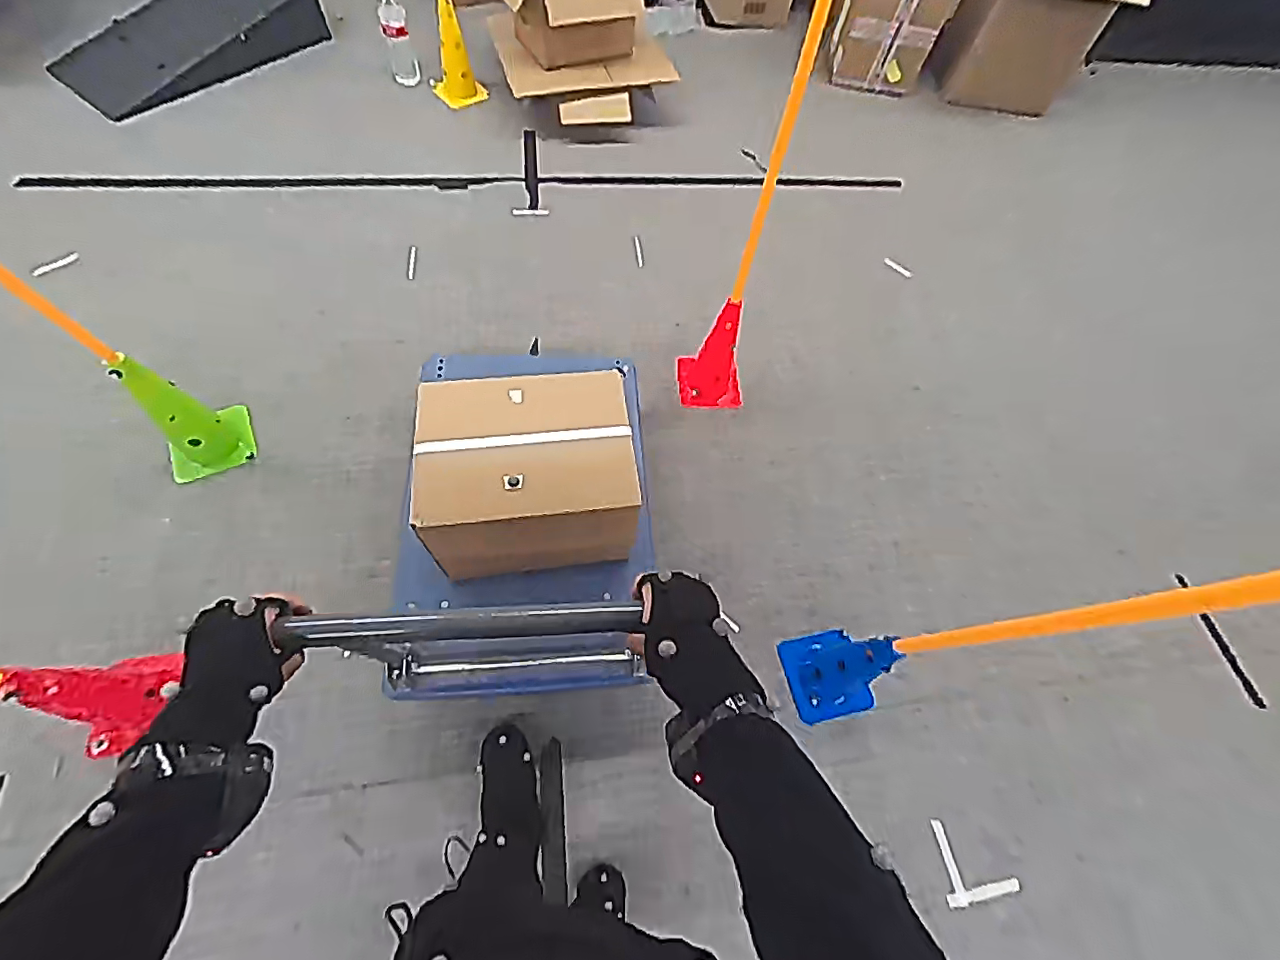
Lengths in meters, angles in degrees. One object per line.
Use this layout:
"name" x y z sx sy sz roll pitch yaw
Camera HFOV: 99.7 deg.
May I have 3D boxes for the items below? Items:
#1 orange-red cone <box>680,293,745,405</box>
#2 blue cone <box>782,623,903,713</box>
"orange-red cone" 0.243 -0.402 1.581 0.199 0.360 0.198 2 63 -6
"blue cone" 0.481 0.392 1.205 0.193 0.380 0.192 -7 62 -10
